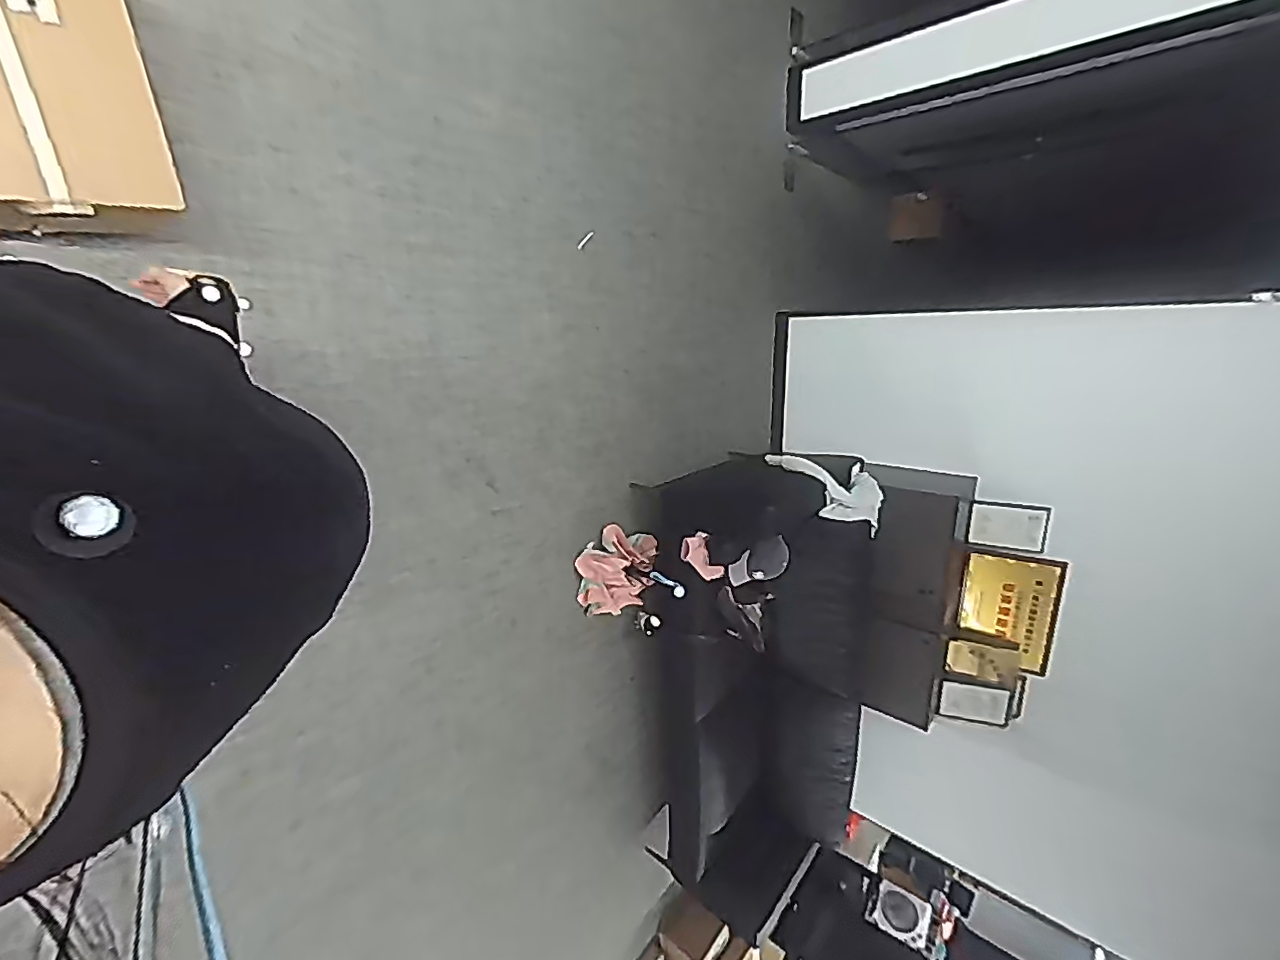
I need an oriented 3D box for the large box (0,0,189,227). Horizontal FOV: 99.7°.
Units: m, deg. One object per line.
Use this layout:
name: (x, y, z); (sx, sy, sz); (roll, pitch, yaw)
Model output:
large box: (-0.997, -0.639, 0.854); (0.320, 0.320, 0.408); (-24, 116, -44)
